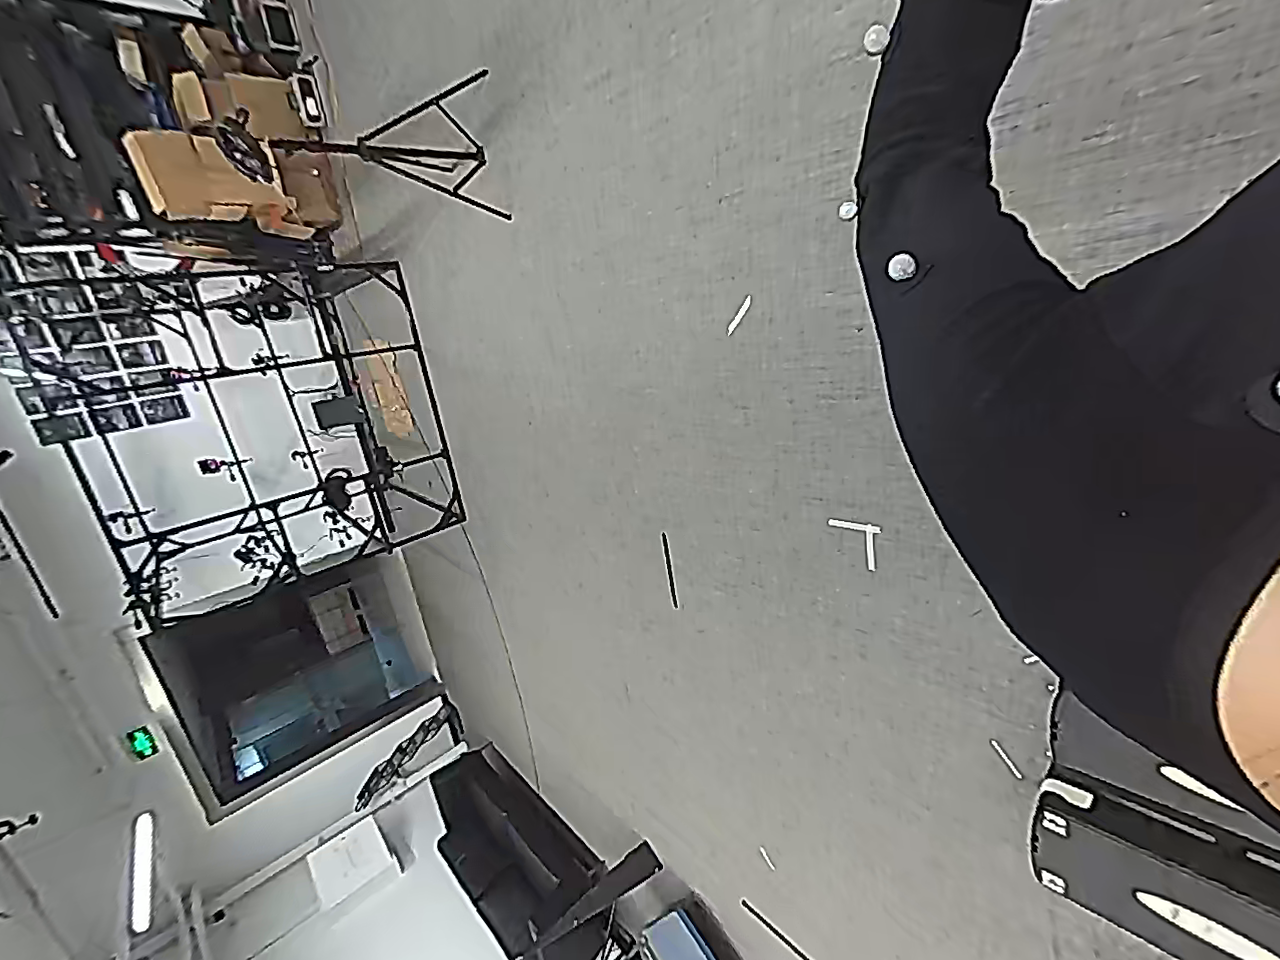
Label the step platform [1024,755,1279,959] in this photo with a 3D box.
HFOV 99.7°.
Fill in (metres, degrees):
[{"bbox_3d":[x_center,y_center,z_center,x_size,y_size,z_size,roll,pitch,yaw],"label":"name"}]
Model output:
[{"bbox_3d":[1.295,0.938,1.233,0.684,0.204,0.286,9,114,50],"label":"step platform"}]
